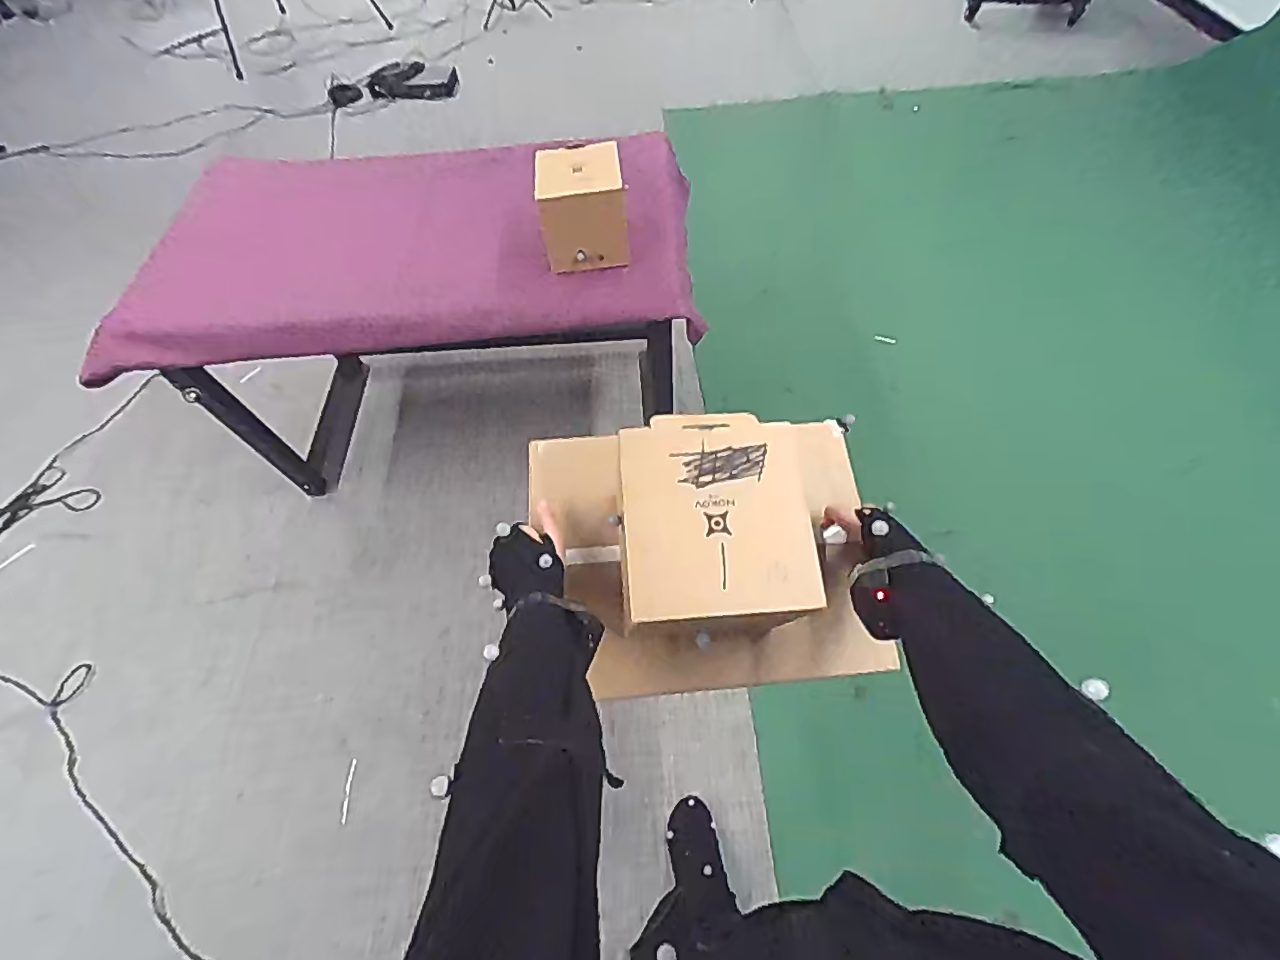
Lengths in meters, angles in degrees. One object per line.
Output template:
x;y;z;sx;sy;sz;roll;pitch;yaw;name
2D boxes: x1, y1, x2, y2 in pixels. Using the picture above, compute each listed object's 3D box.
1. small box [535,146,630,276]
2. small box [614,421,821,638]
-0.112;-0.546;1.105;0.168;0.176;0.179;-7;57;2;small box
0.059;0.057;0.542;0.168;0.176;0.179;-3;70;-3;small box
